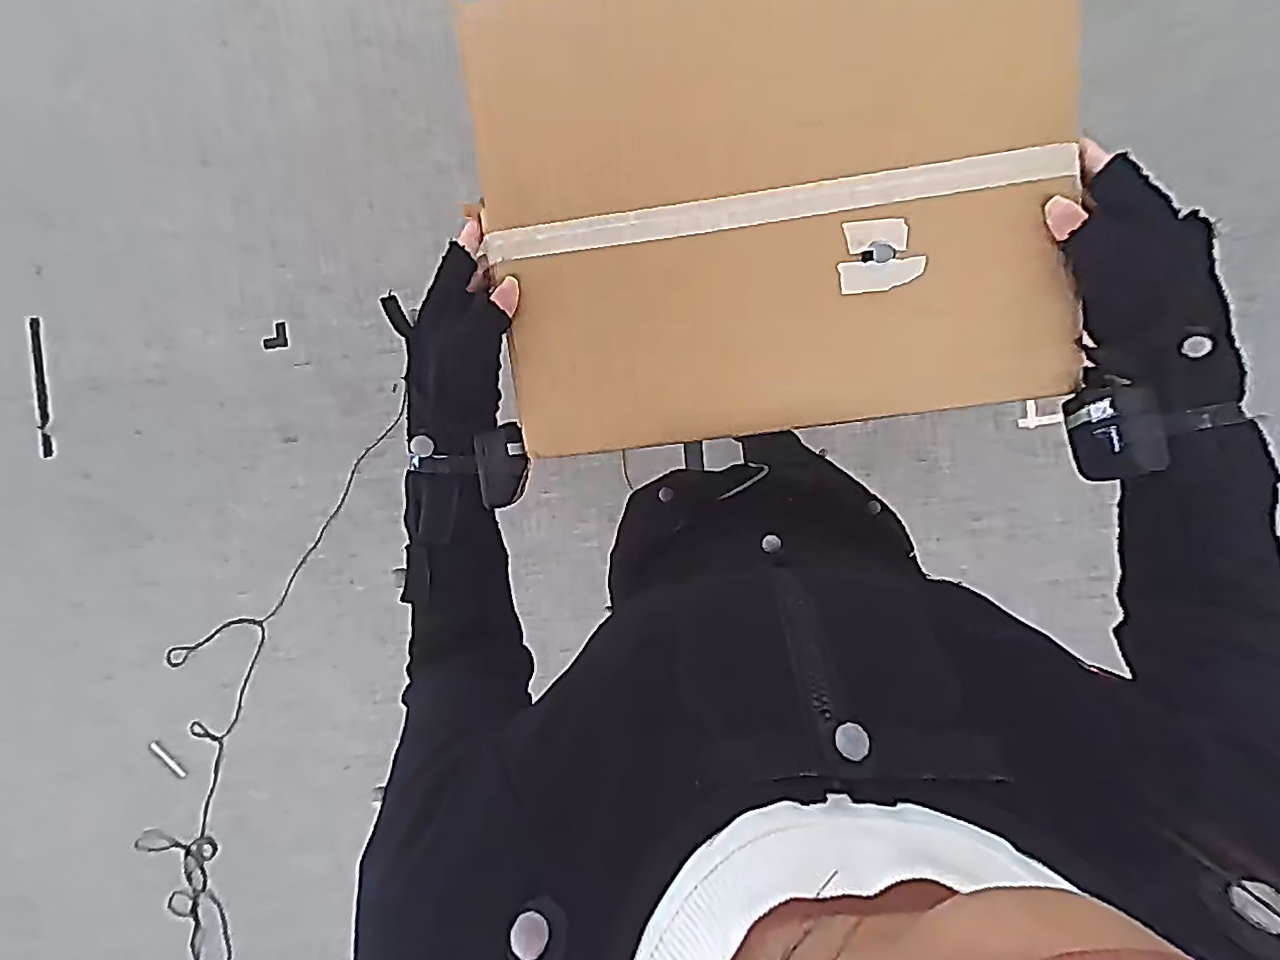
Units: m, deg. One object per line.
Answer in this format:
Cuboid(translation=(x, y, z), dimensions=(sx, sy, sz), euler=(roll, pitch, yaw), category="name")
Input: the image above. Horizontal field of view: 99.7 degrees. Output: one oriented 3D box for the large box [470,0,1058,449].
Cuboid(translation=(0.098, -0.221, 0.540), dimensions=(0.408, 0.320, 0.320), euler=(-7, 99, 3), category="large box")
